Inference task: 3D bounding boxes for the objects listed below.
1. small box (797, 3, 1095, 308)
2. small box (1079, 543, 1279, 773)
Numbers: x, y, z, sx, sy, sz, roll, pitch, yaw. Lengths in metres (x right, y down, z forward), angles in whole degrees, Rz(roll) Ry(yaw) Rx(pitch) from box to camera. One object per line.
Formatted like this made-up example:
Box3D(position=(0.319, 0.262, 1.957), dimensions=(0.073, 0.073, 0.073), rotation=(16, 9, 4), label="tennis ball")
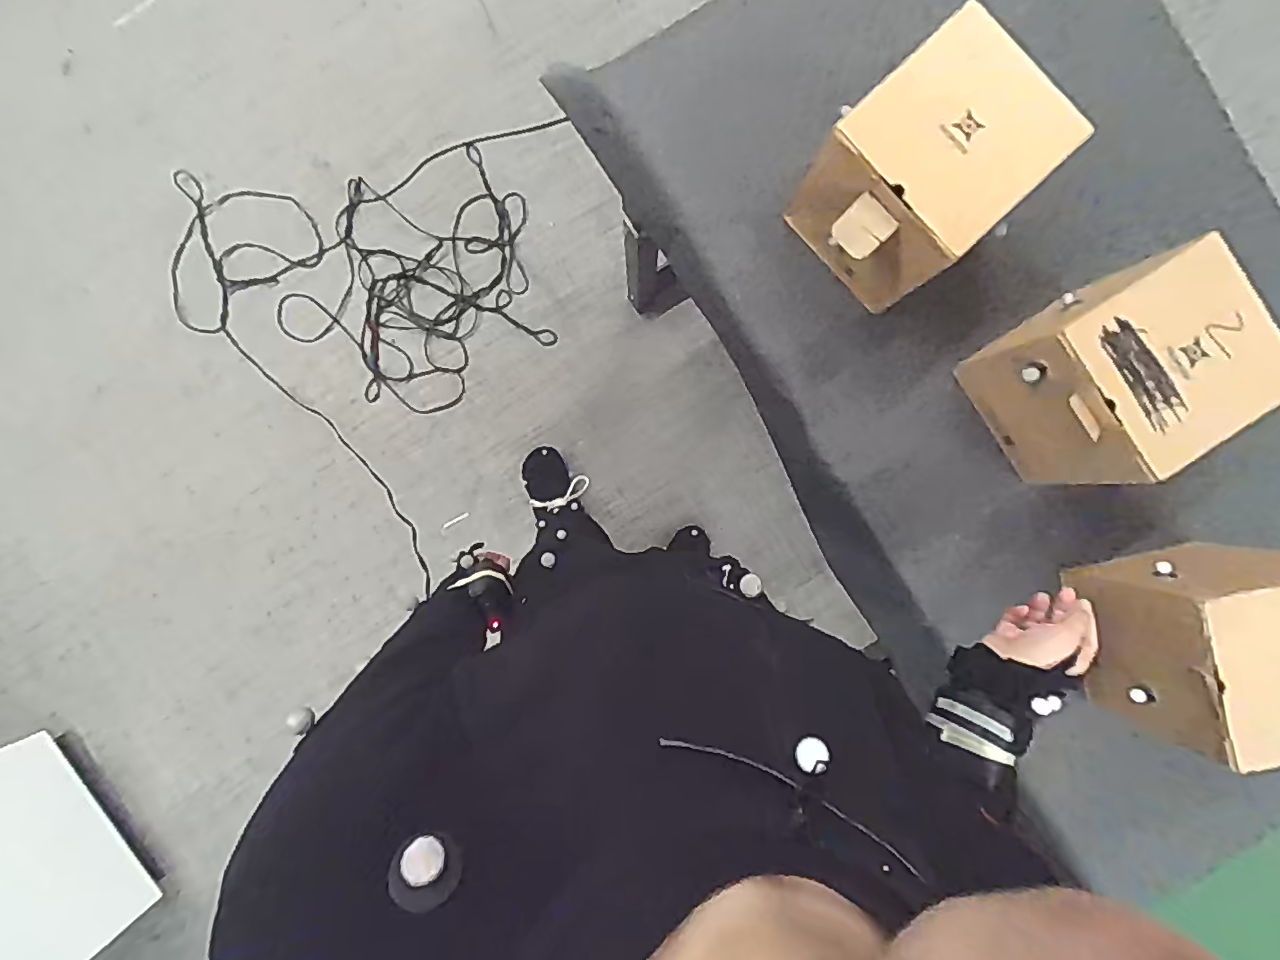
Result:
Box3D(position=(0.297, -0.317, 0.568), dimensions=(0.179, 0.176, 0.168), rotation=(-43, 91, 0), label="small box")
Box3D(position=(0.612, 0.170, 0.571), dimensions=(0.179, 0.176, 0.168), rotation=(-12, 91, -1), label="small box")
